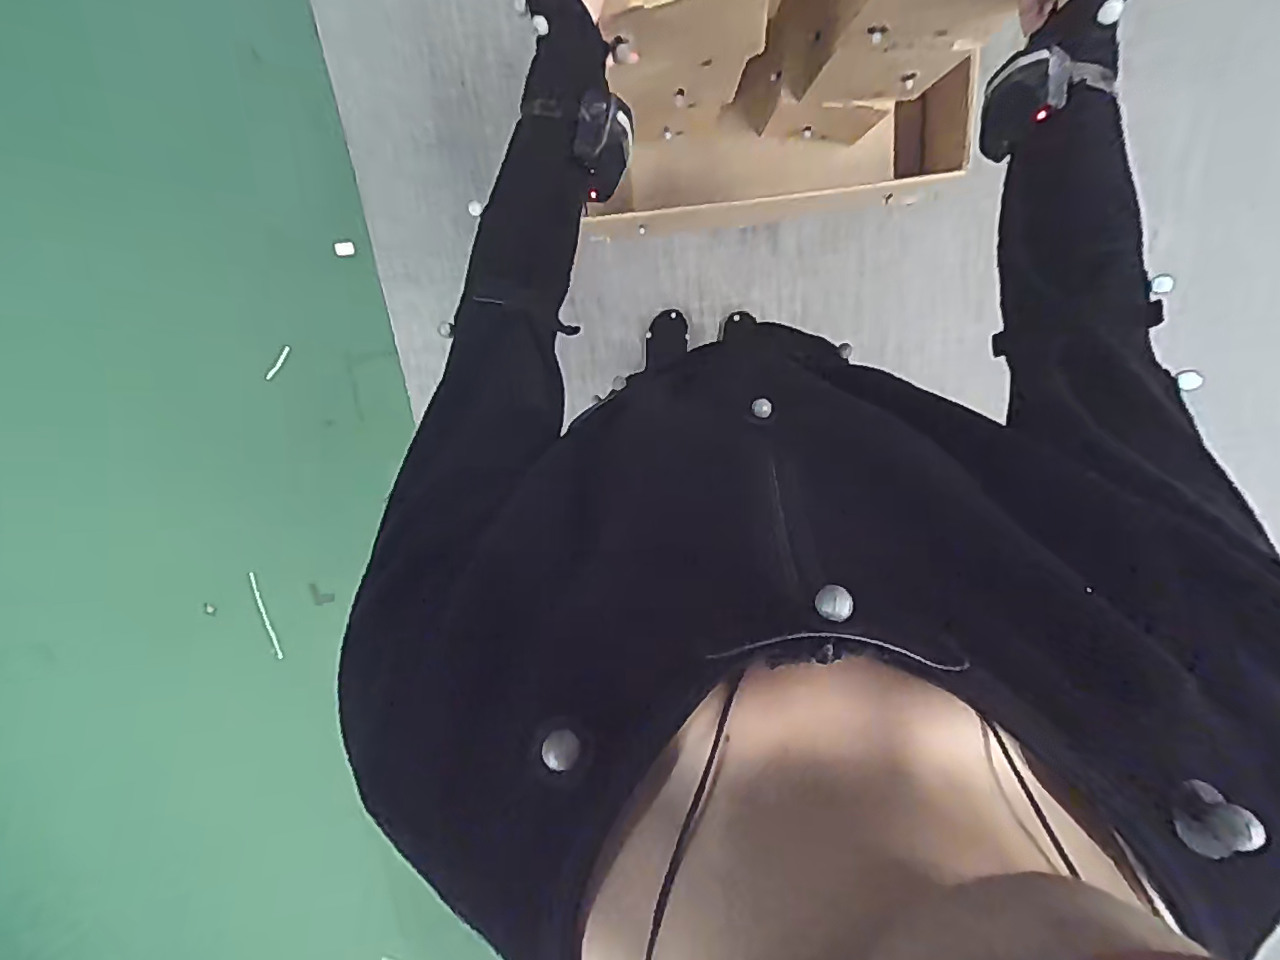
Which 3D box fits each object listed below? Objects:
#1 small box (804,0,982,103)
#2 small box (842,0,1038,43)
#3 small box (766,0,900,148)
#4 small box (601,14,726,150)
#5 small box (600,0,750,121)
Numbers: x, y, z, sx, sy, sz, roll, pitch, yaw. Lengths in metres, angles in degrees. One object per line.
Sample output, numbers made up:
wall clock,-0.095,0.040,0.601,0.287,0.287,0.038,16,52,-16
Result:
small box,0.305,-0.585,0.661,0.168,0.176,0.179,0,108,2
small box,0.291,-0.519,0.475,0.168,0.176,0.179,0,108,1
small box,0.295,-0.631,0.818,0.168,0.176,0.179,5,108,1
small box,0.036,-0.638,0.827,0.168,0.176,0.179,-8,107,6
small box,0.039,-0.576,0.675,0.168,0.176,0.179,-8,107,5
